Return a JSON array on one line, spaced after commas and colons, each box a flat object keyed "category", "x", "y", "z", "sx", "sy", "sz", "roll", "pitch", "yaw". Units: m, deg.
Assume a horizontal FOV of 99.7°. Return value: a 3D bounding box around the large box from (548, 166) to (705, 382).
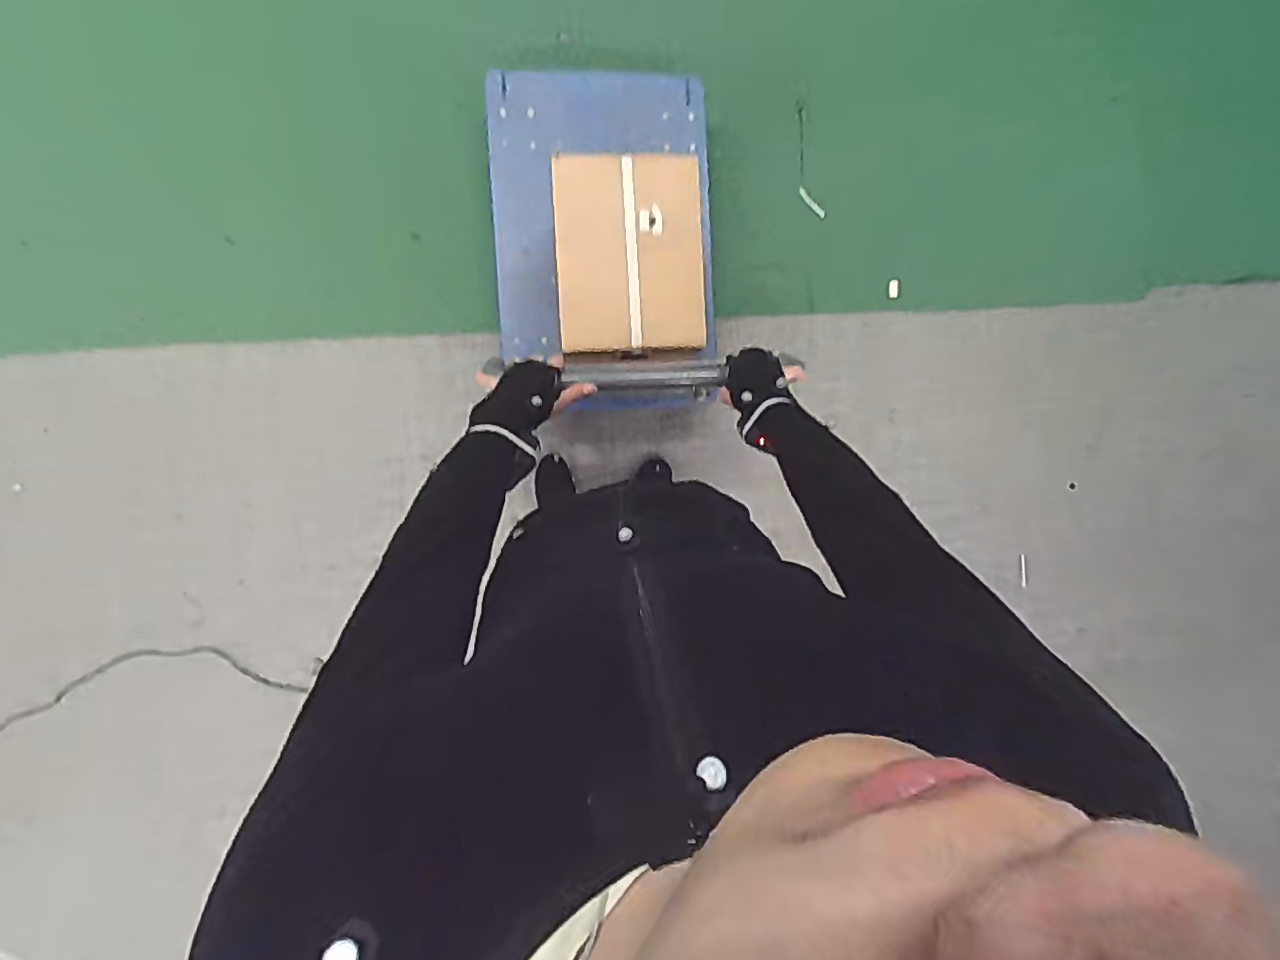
[{"category": "large box", "x": -0.042, "y": -0.467, "z": 1.296, "sx": 0.320, "sy": 0.320, "sz": 0.408, "roll": -4, "pitch": 91, "yaw": -7}]
